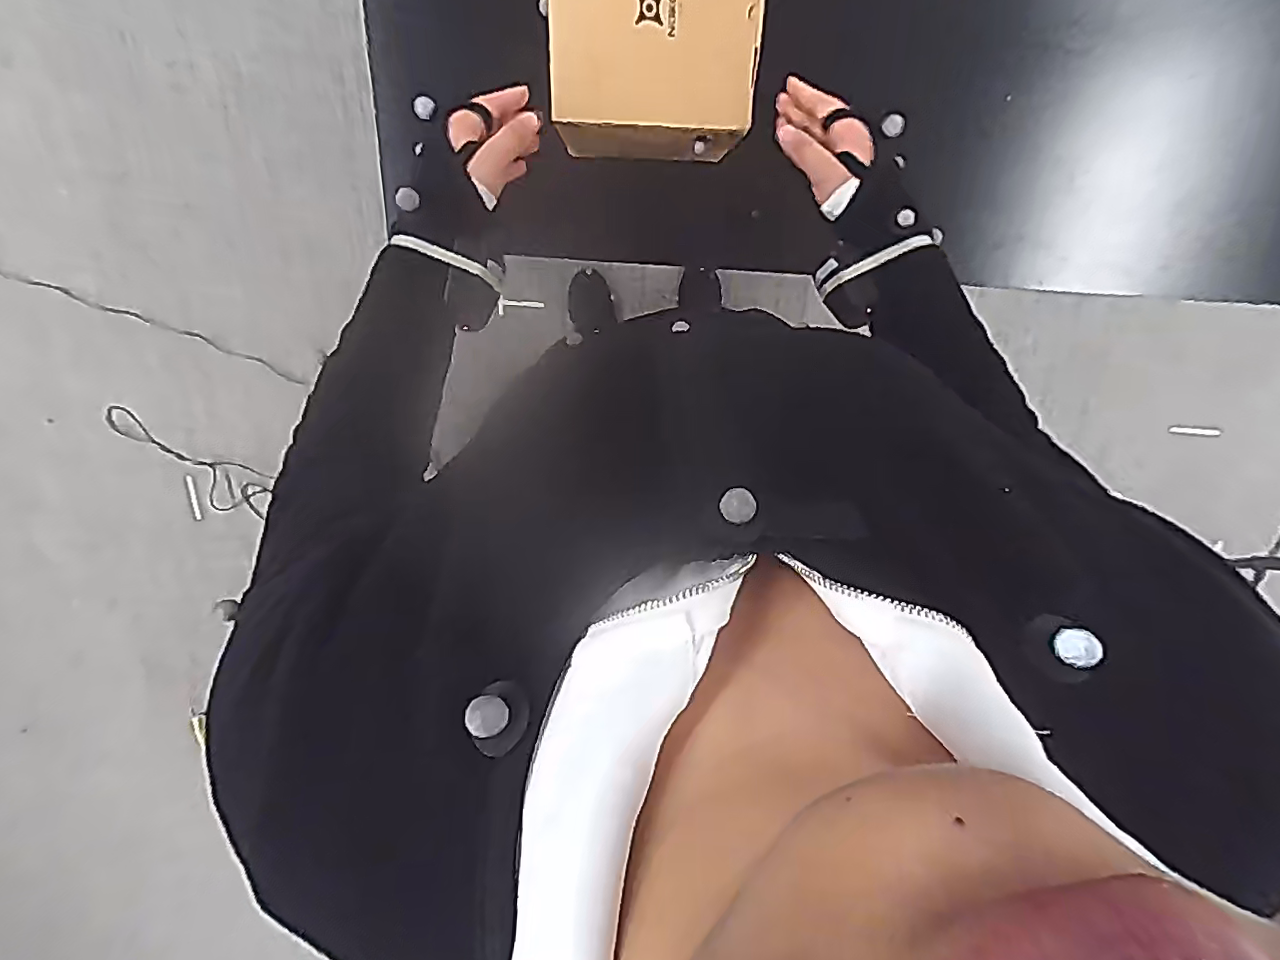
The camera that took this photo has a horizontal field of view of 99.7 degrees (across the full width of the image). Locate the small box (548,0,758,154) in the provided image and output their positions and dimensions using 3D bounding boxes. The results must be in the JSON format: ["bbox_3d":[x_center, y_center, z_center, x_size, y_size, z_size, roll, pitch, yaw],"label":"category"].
[{"bbox_3d":[0.008,-0.422,0.519,0.179,0.176,0.168,0,113,-3],"label":"small box"}]
